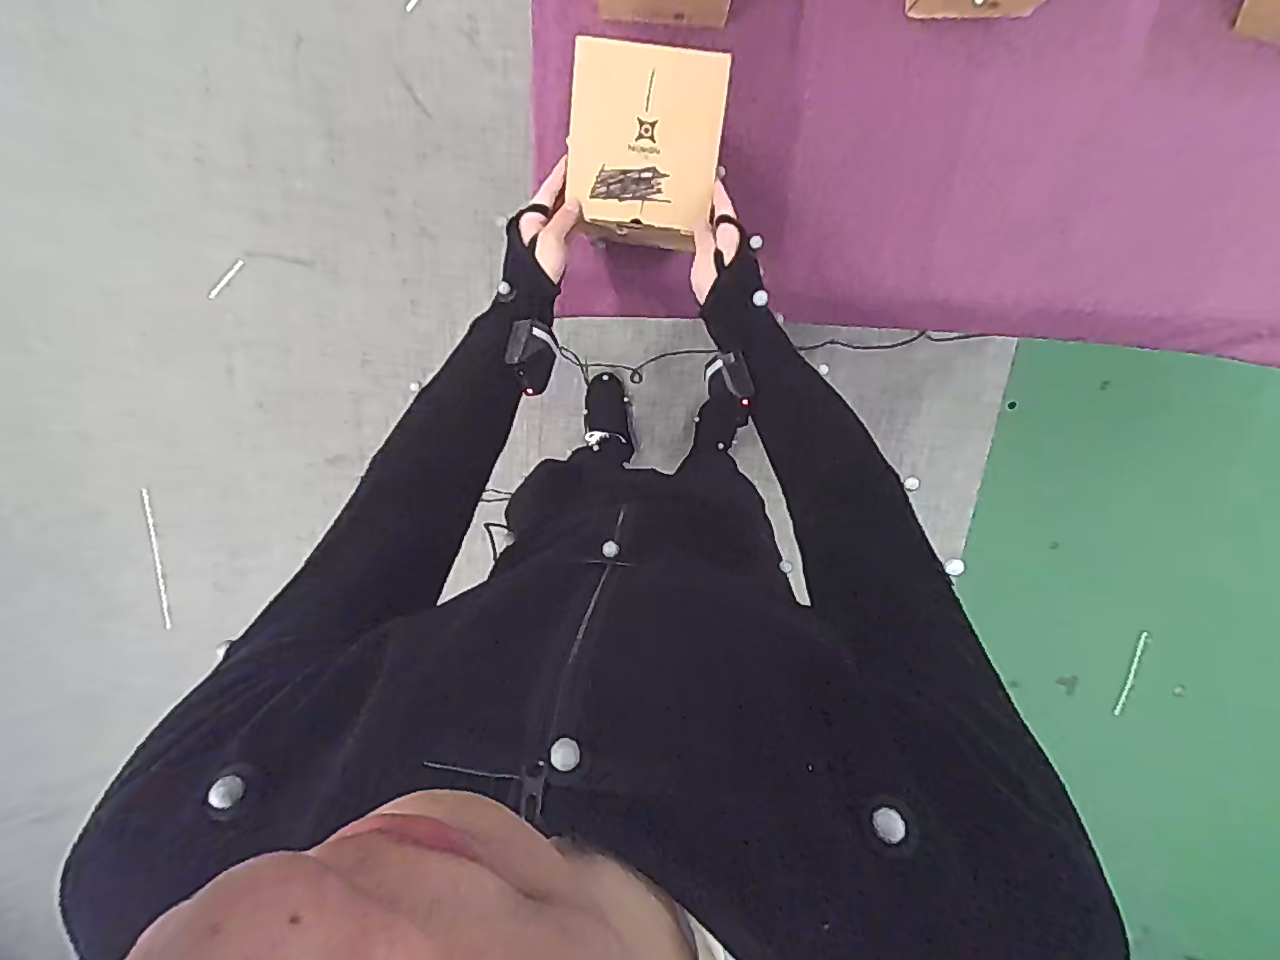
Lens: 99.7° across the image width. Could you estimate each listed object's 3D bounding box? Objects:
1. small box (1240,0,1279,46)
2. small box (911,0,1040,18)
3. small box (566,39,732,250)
[{"bbox_3d":[0.885,-0.645,0.629,0.168,0.176,0.179,10,105,-2],"label":"small box"},{"bbox_3d":[0.434,-0.680,0.619,0.168,0.176,0.179,-1,106,-1],"label":"small box"},{"bbox_3d":[0.009,-0.390,0.663,0.168,0.176,0.179,7,107,-1],"label":"small box"}]
